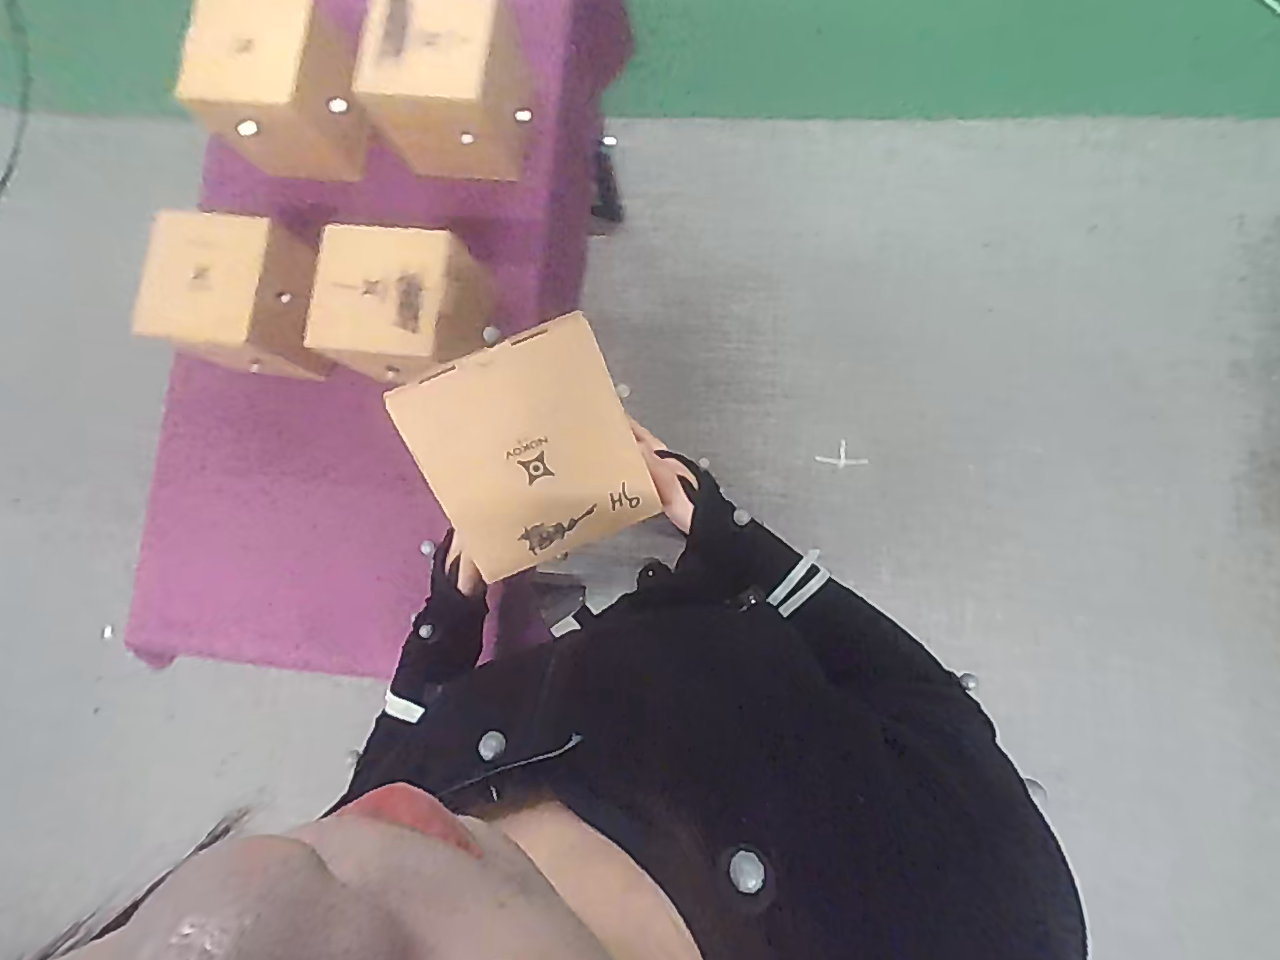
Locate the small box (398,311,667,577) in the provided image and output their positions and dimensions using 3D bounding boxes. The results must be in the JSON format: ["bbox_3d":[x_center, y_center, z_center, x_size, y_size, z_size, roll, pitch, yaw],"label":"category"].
[{"bbox_3d":[-0.090,-0.045,0.506,0.168,0.176,0.179,-21,109,0],"label":"small box"}]

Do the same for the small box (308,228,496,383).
[{"bbox_3d":[-0.322,-0.232,0.768,0.179,0.176,0.168,6,85,8],"label":"small box"}]

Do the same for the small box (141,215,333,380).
[{"bbox_3d":[-0.568,-0.258,0.800,0.168,0.176,0.179,8,85,7],"label":"small box"}]

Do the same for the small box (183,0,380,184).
[{"bbox_3d":[-0.532,-0.582,0.827,0.179,0.176,0.168,8,86,8],"label":"small box"}]
